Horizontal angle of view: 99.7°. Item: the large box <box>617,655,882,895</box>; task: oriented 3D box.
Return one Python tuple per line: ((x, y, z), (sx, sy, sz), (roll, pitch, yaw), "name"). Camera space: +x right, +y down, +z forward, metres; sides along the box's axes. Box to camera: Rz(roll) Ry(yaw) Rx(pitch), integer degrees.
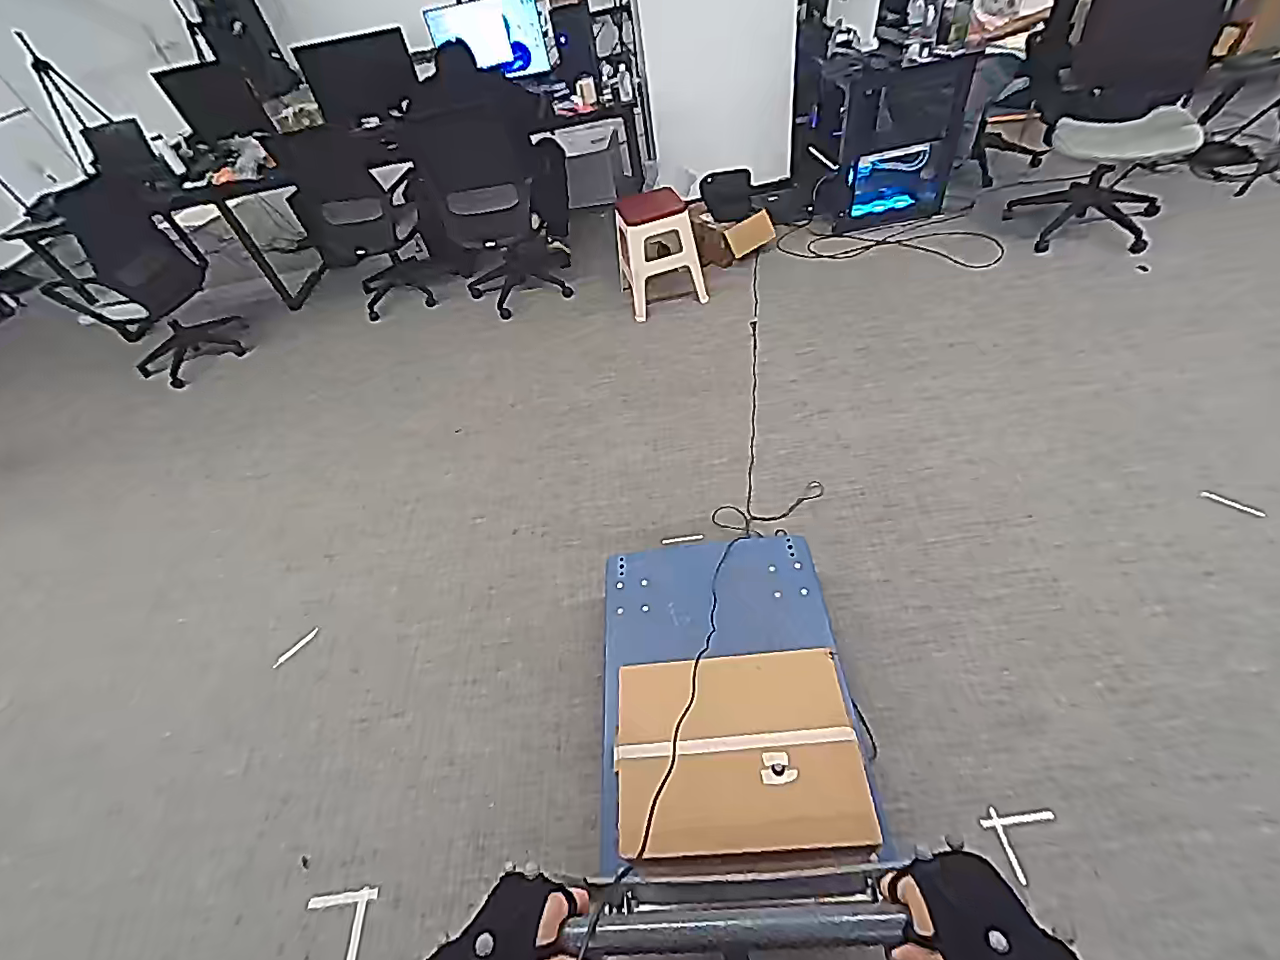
((0.179, 0.563, 1.023), (0.408, 0.320, 0.320), (-7, 48, 5), "large box")
